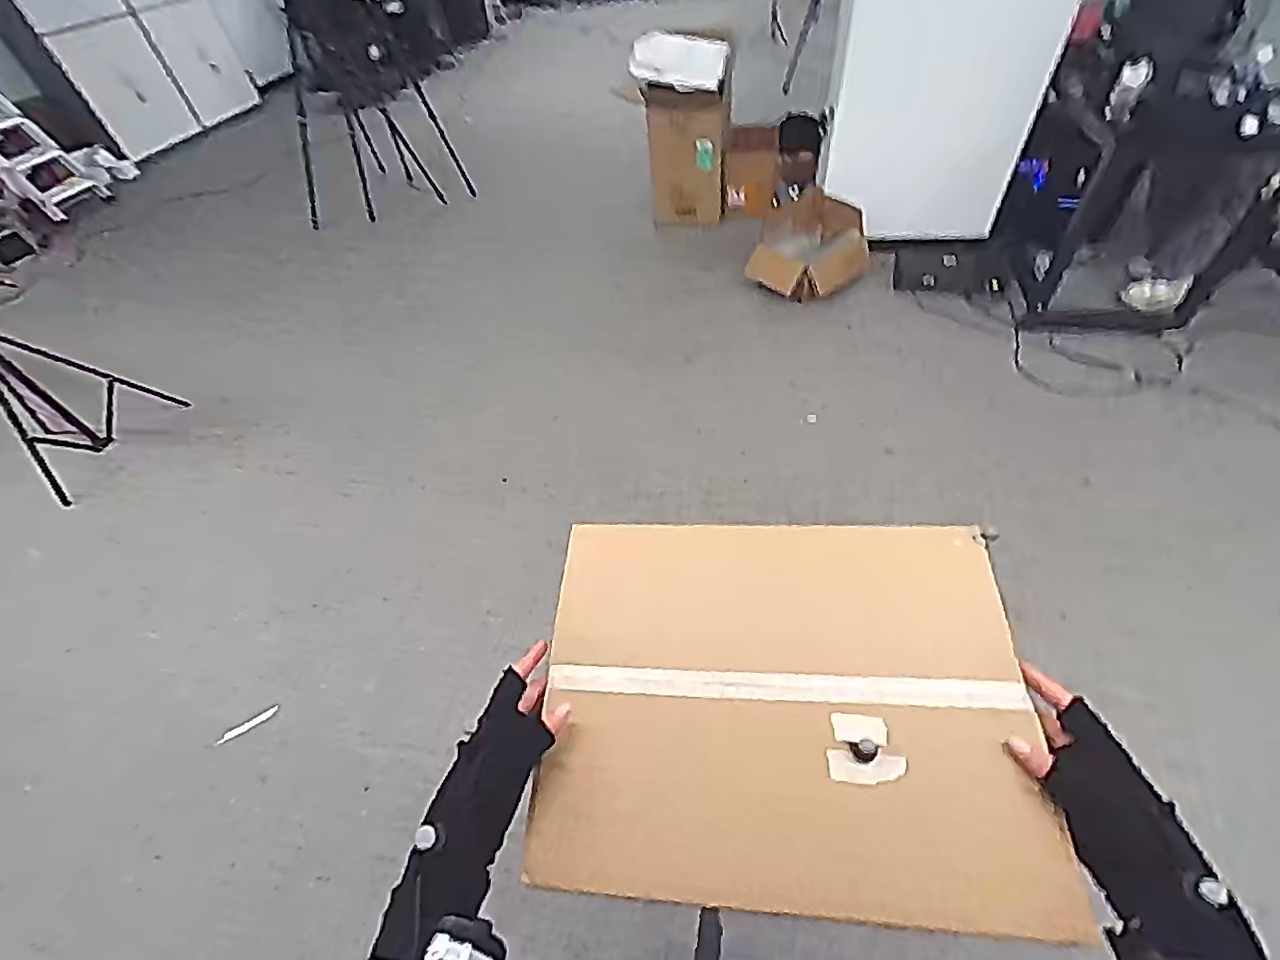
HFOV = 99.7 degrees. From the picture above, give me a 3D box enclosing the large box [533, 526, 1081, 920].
[{"bbox_3d":[0.134,0.258,0.600,0.408,0.320,0.320,-1,58,8],"label":"large box"}]
